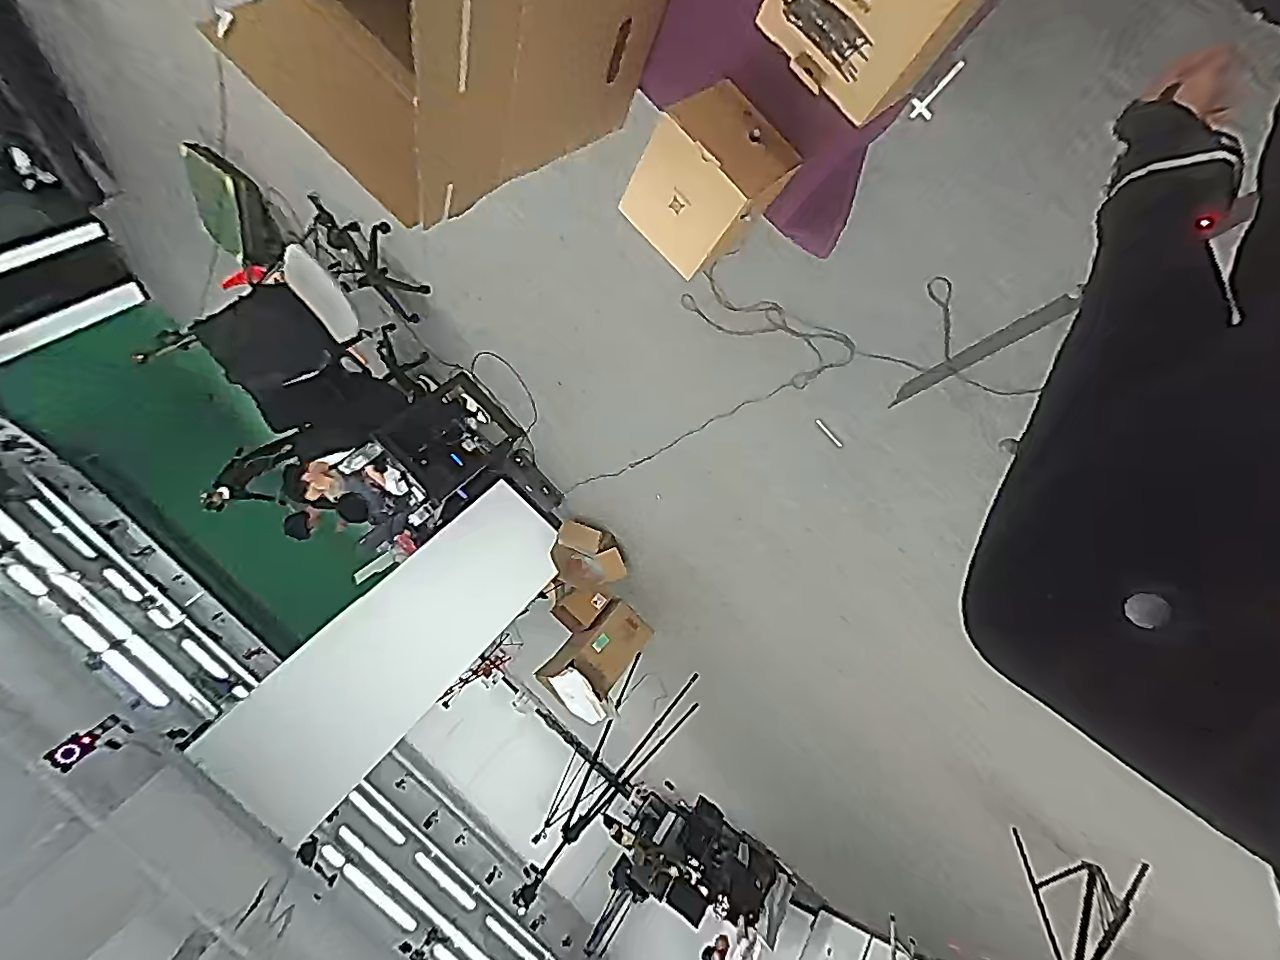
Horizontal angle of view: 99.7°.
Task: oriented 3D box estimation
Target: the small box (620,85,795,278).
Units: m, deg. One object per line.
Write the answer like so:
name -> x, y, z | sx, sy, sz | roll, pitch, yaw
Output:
small box -> 0.105, -0.457, 0.834 | 0.168, 0.176, 0.179 | 45, 148, -3
